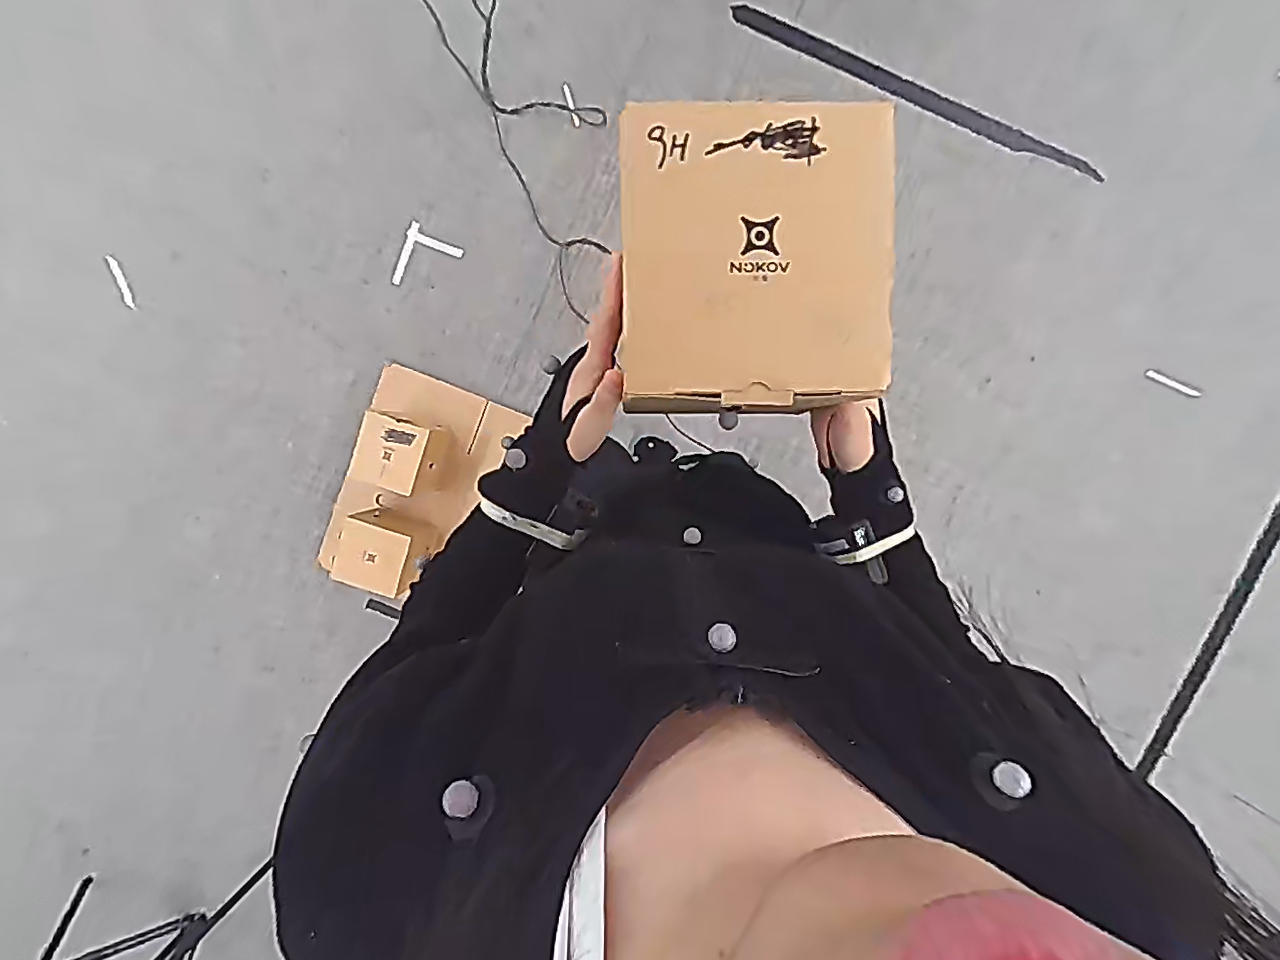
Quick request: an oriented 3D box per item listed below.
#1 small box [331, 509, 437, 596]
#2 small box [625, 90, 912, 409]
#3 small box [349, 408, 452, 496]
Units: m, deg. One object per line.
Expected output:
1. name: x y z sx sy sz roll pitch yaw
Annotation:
1. small box: -0.662 0.180 1.414 0.179 0.176 0.168 17 96 -1
2. small box: 0.073 -0.143 0.398 0.168 0.176 0.179 0 94 -2
3. small box: -0.606 -0.073 1.392 0.168 0.176 0.179 19 94 0
